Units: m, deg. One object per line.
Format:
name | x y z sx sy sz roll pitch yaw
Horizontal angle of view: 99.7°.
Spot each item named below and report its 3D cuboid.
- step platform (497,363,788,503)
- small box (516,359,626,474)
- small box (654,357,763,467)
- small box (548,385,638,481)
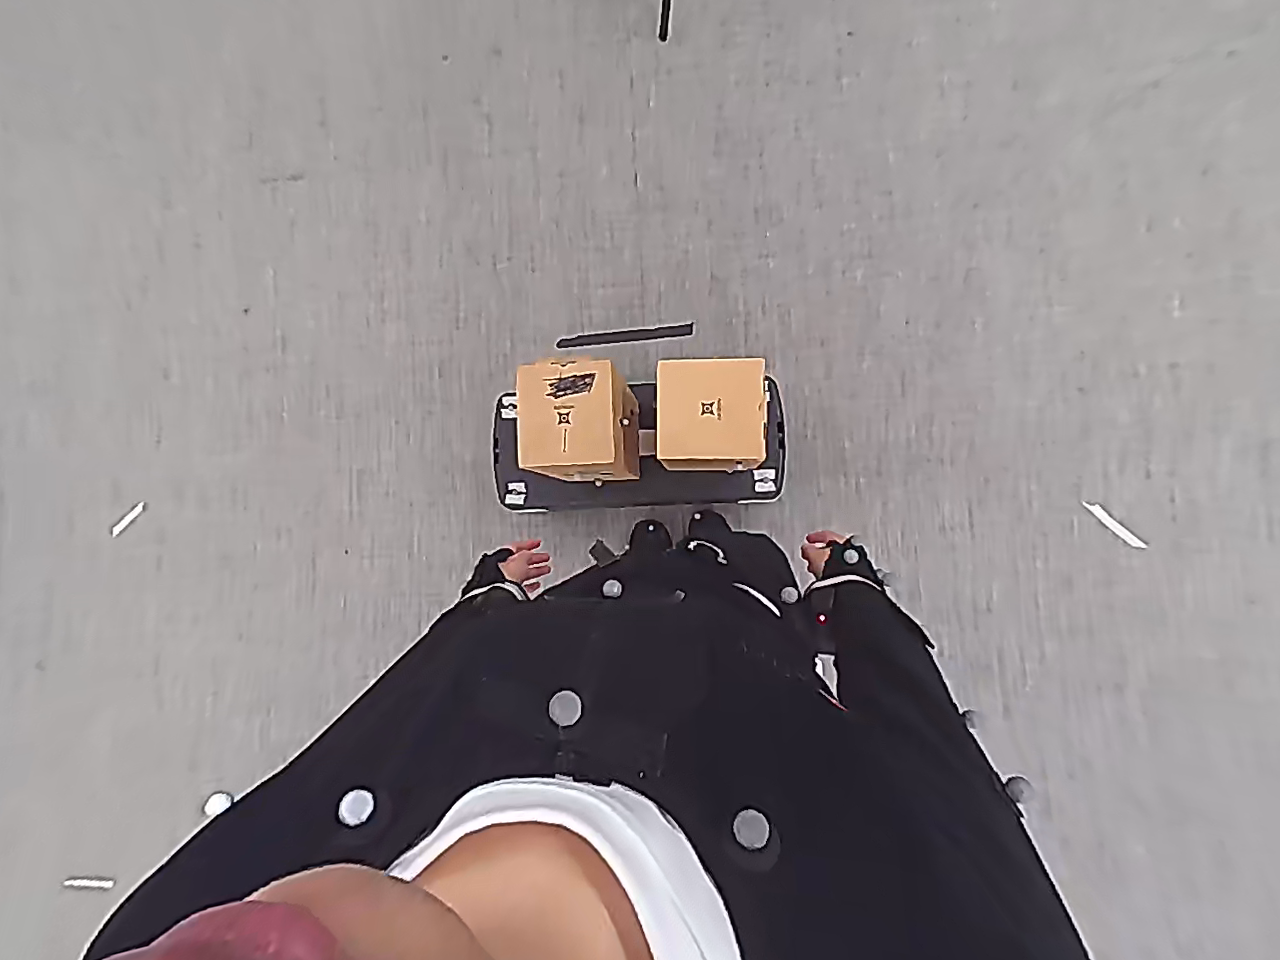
step platform | 0.004 -0.103 1.304 0.684 0.204 0.286 -3 86 7
small box | -0.118 -0.107 0.977 0.168 0.176 0.179 -2 86 6
small box | 0.119 -0.112 0.952 0.179 0.176 0.168 0 86 6
small box | -0.097 -0.093 1.140 0.168 0.176 0.179 -1 86 7
